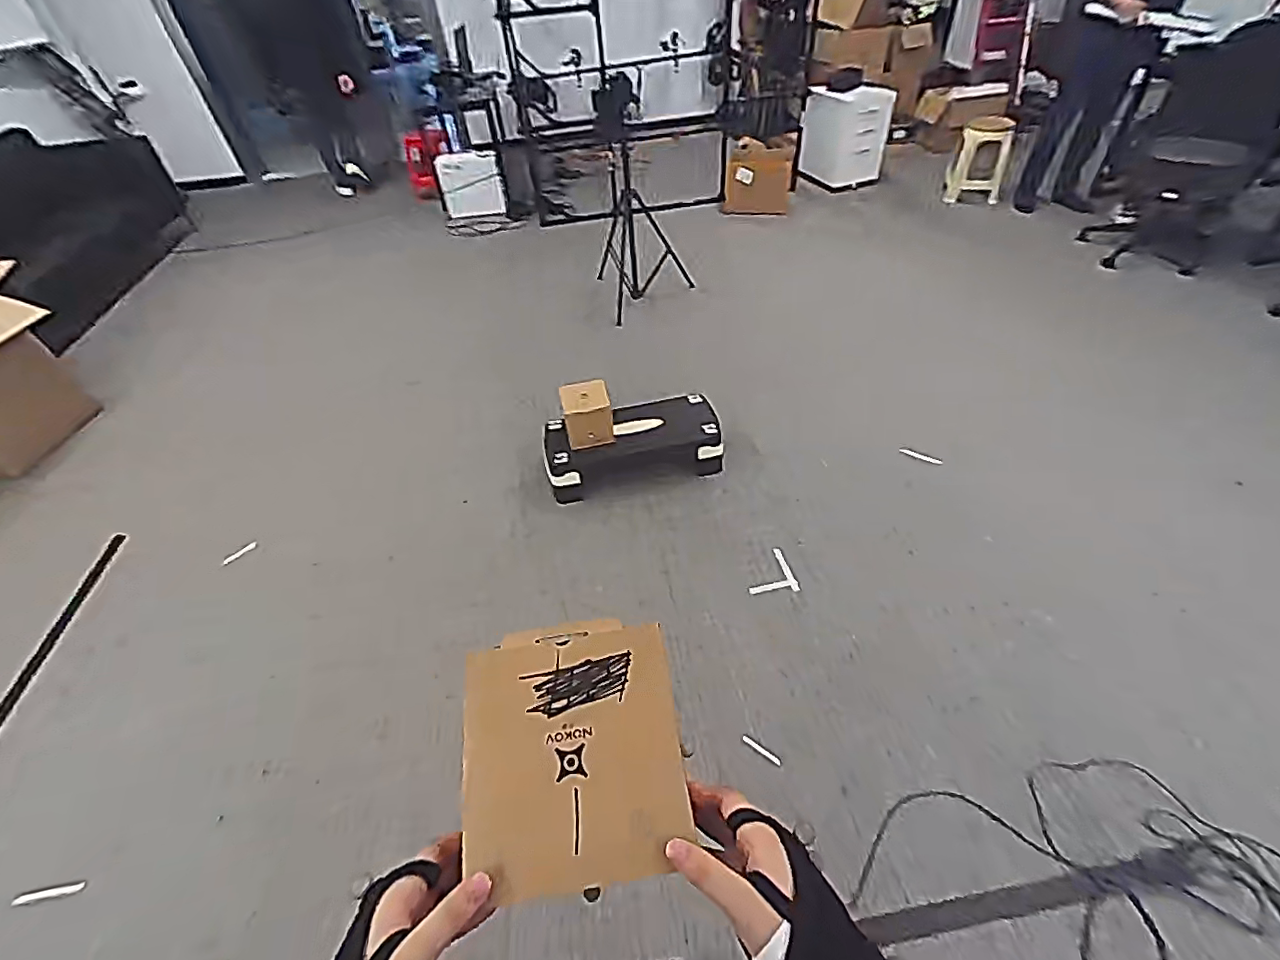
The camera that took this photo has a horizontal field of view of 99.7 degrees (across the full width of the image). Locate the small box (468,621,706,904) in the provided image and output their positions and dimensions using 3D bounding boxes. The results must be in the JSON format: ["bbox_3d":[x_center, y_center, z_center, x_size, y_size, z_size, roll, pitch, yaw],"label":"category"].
[{"bbox_3d":[-0.045,0.244,0.477,0.168,0.176,0.179,-8,59,-4],"label":"small box"}]

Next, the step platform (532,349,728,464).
[{"bbox_3d":[-0.033,-0.265,1.954,0.684,0.204,0.286,-11,45,-6],"label":"step platform"}]

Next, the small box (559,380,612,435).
[{"bbox_3d":[-0.201,-0.241,1.997,0.168,0.176,0.179,-12,45,-6],"label":"small box"}]
